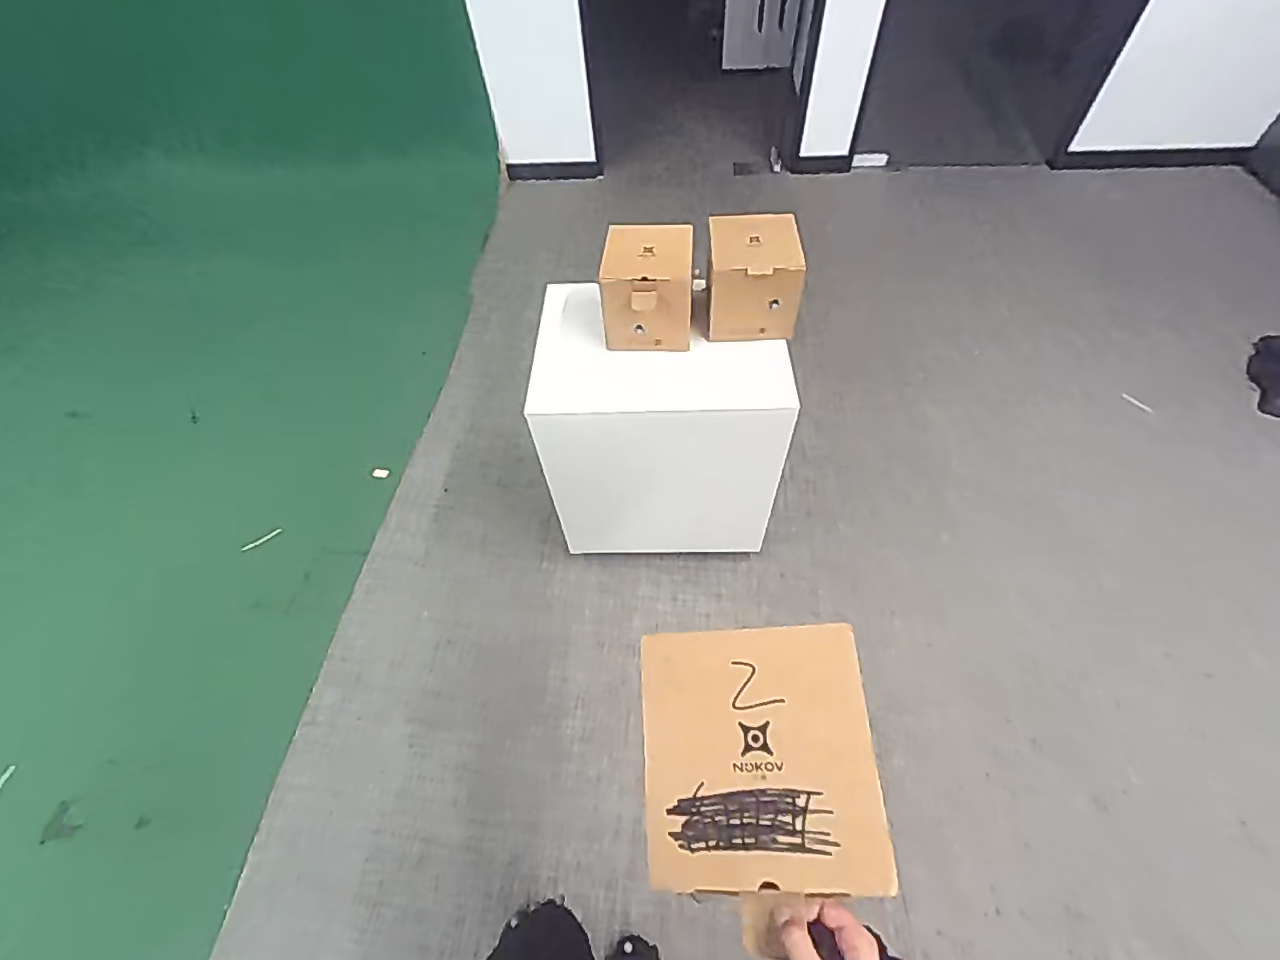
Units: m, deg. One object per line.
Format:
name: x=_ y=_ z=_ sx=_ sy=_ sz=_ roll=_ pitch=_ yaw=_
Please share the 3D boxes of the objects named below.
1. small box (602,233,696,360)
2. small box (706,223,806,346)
small box: x=0.023 y=-0.362 z=1.067 sx=0.168 sy=0.176 sz=0.179 roll=2 pitch=55 yaw=5
small box: x=0.220 y=-0.379 z=1.066 sx=0.168 sy=0.176 sz=0.179 roll=-1 pitch=54 yaw=3
